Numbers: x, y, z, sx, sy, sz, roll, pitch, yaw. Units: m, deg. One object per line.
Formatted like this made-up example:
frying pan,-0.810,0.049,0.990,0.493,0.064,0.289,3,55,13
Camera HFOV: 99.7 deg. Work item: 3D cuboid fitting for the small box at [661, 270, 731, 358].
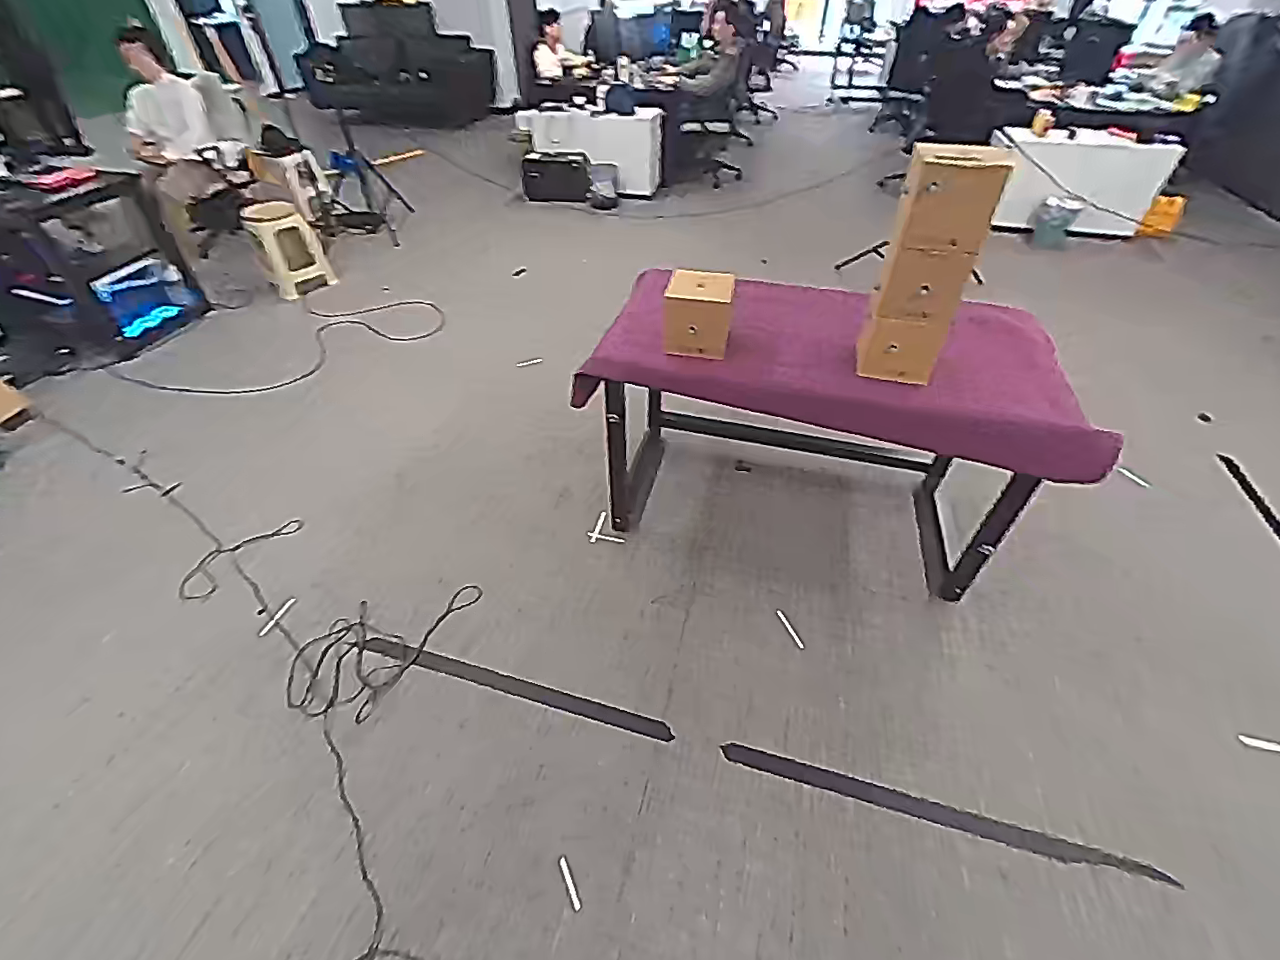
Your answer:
small box,0.152,-0.452,1.474,0.168,0.176,0.179,8,44,8

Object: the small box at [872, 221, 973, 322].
small box,0.660,-0.494,1.285,0.168,0.176,0.179,11,45,12

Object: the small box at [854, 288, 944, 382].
small box,0.660,-0.373,1.395,0.168,0.176,0.179,10,44,11
